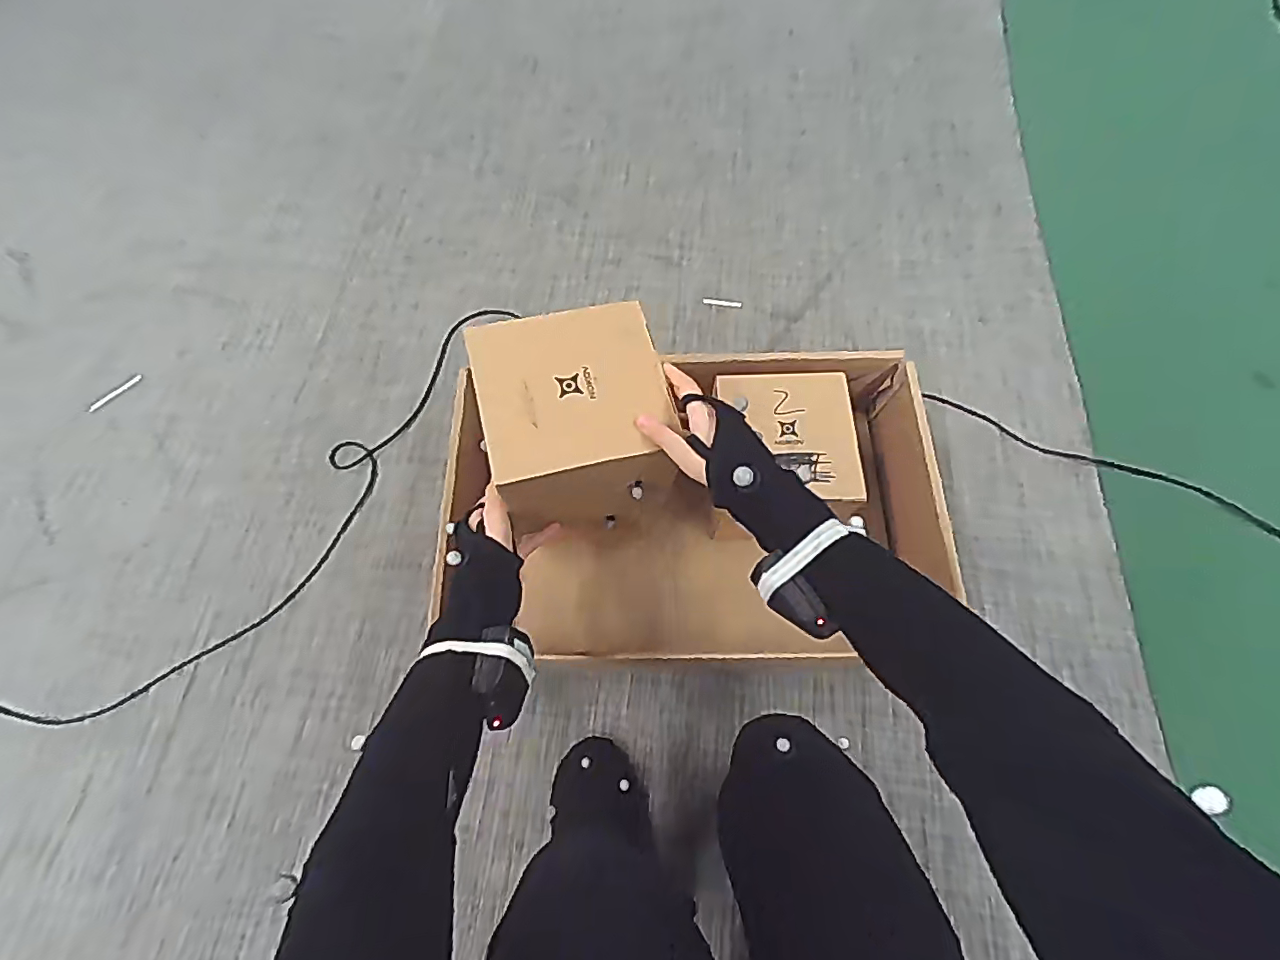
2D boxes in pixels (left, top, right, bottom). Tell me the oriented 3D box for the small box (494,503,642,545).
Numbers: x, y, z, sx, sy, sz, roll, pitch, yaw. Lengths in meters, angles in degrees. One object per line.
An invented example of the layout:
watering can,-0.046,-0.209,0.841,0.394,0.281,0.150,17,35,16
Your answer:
small box,-0.085,-0.011,0.736,0.179,0.176,0.168,1,69,0

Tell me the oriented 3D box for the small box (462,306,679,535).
small box,-0.073,-0.054,0.574,0.179,0.176,0.168,-13,70,-8
